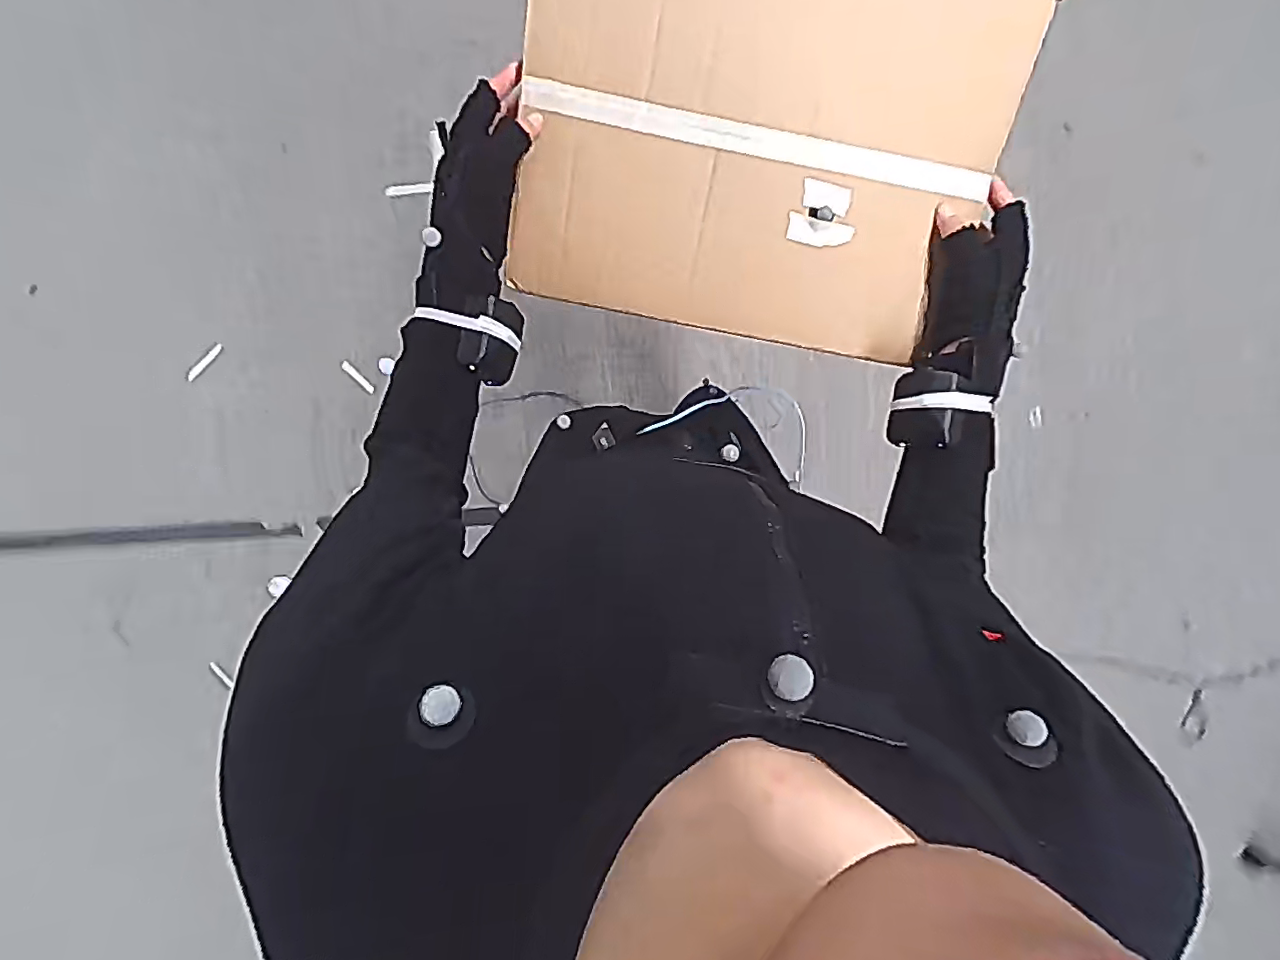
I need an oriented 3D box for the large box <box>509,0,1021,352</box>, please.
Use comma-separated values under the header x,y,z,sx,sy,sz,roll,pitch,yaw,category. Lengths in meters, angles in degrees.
x,y,z,sx,sy,sz,roll,pitch,yaw,category
0.089,-0.345,0.609,0.408,0.320,0.320,8,111,-4,large box
